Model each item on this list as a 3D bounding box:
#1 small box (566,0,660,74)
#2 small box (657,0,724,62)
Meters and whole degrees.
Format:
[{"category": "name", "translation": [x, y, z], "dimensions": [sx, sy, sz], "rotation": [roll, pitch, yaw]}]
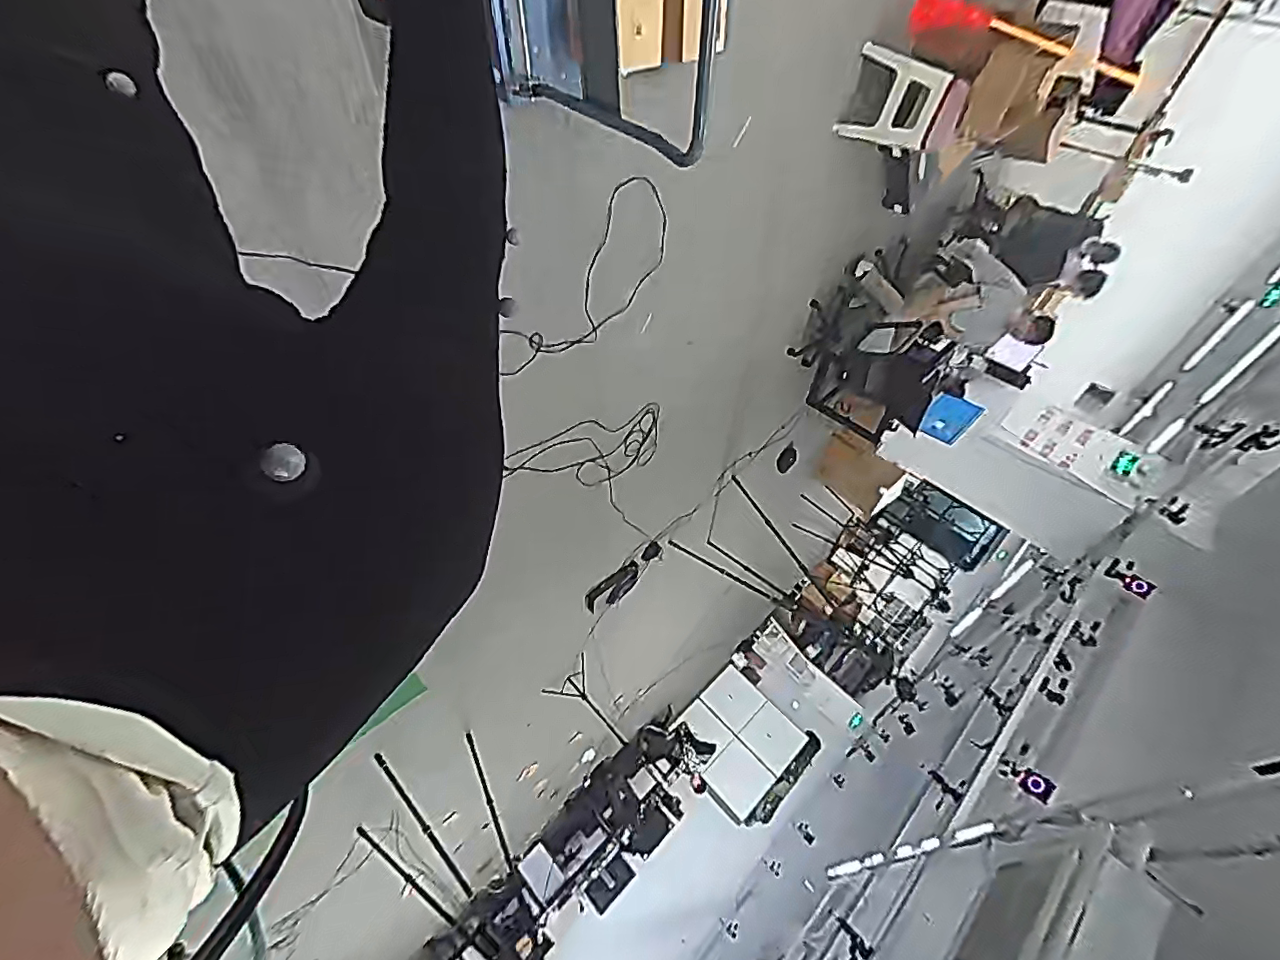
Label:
[{"category": "small box", "translation": [-0.070, -1.167, 1.381], "dimensions": [0.179, 0.176, 0.168], "rotation": [-34, 148, -27]}, {"category": "small box", "translation": [0.113, -1.291, 1.496], "dimensions": [0.179, 0.176, 0.168], "rotation": [-36, 149, -24]}]
